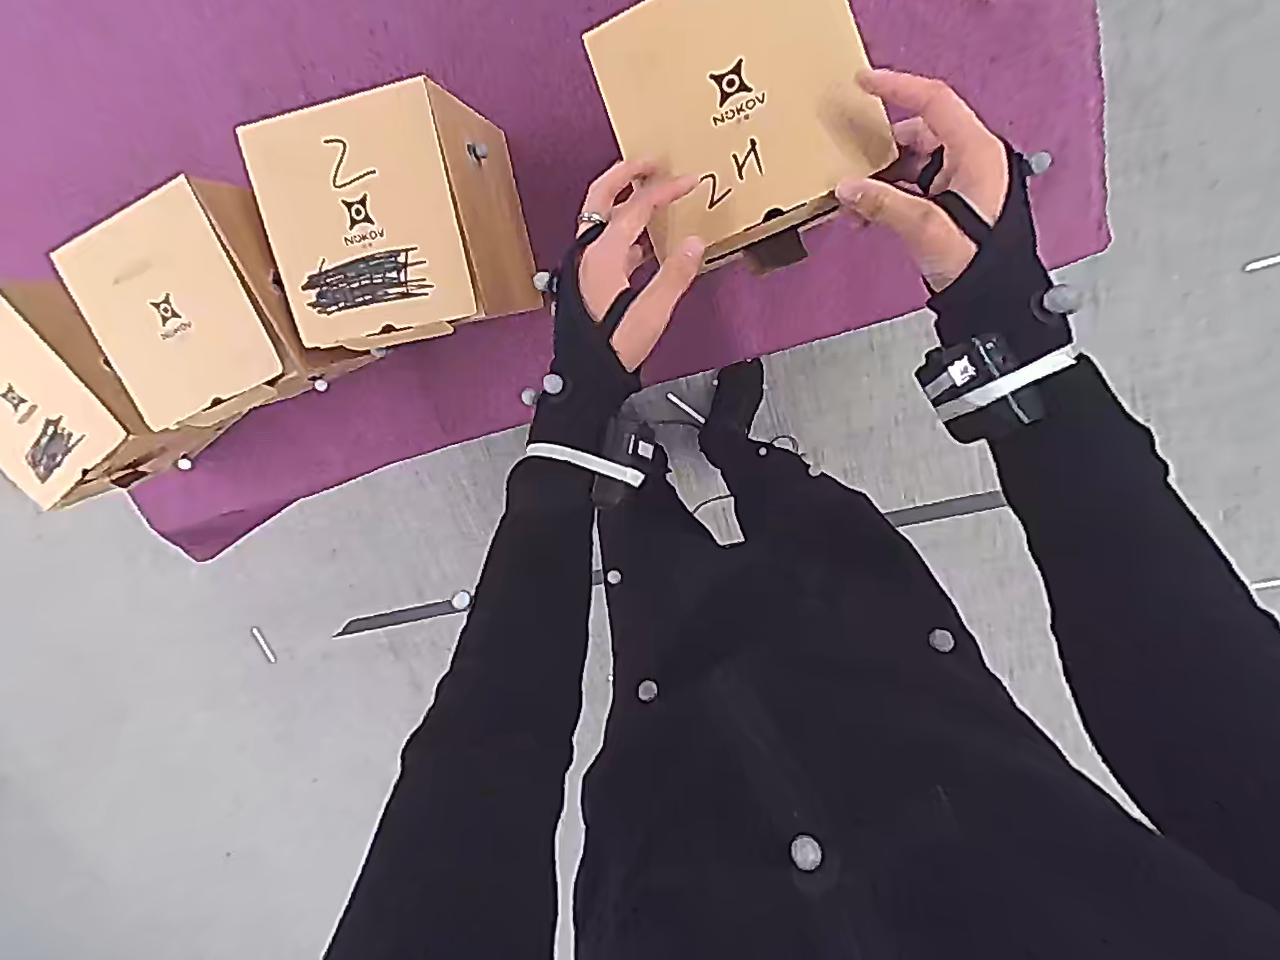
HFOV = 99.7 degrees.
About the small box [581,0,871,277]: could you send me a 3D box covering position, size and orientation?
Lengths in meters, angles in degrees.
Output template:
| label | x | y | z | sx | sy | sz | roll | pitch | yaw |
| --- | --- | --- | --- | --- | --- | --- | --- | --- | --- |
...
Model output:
| label | x | y | z | sx | sy | sz | roll | pitch | yaw |
| --- | --- | --- | --- | --- | --- | --- | --- | --- | --- |
| small box | 0.071 | -0.285 | 0.457 | 0.168 | 0.176 | 0.179 | -18 | 107 | 14 |
